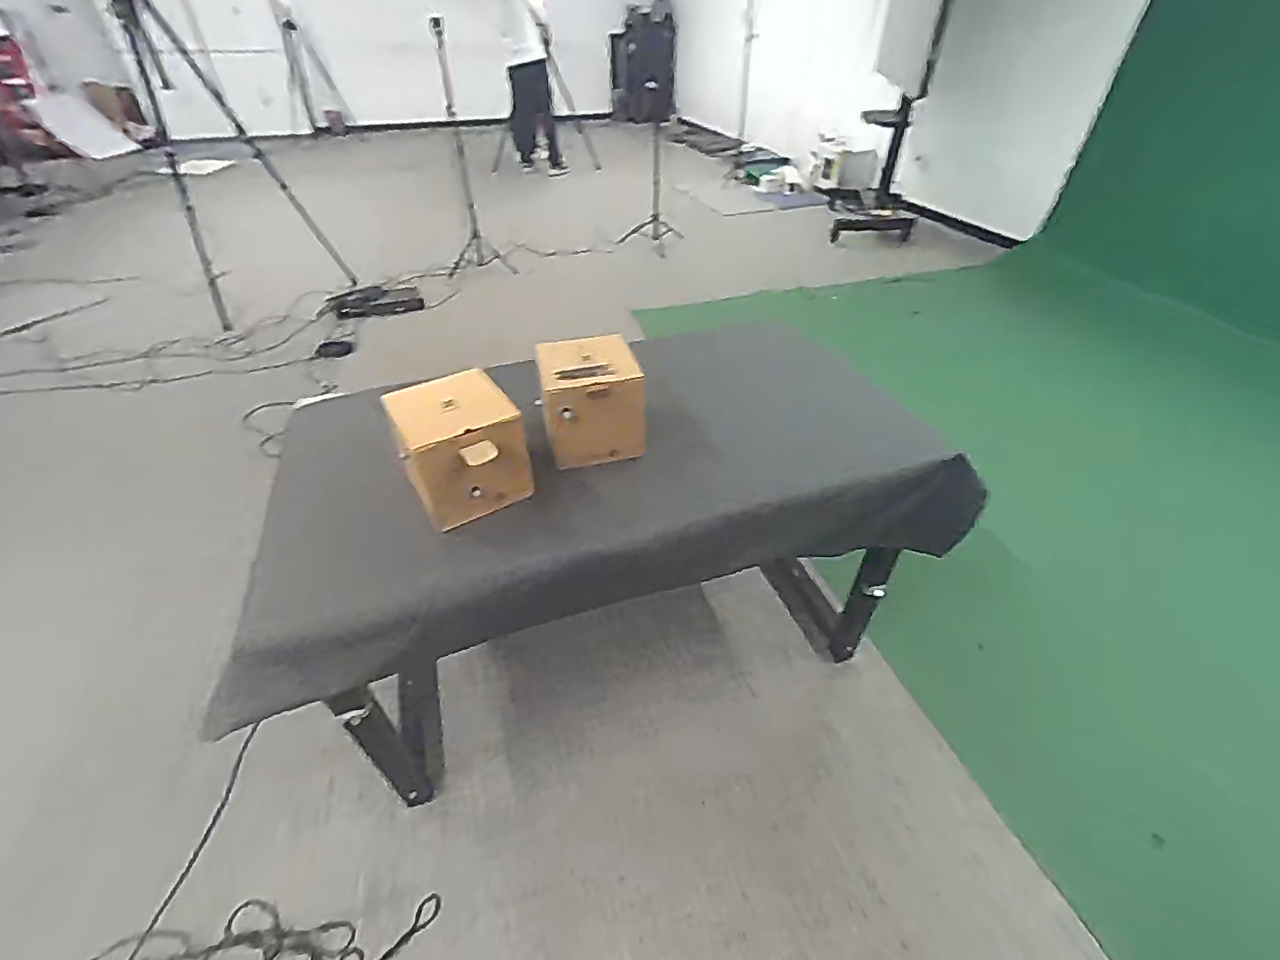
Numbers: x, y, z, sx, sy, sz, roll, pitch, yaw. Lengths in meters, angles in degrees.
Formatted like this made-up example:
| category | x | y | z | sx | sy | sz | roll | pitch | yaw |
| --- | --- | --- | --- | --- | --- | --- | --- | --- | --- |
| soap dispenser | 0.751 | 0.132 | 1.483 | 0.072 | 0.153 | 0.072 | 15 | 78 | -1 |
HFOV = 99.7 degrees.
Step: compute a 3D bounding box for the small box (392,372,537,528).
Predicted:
| category | x | y | z | sx | sy | sz | roll | pitch | yaw |
| --- | --- | --- | --- | --- | --- | --- | --- | --- | --- |
| small box | -0.286 | -0.052 | 0.897 | 0.168 | 0.176 | 0.179 | -23 | 46 | -26 |
